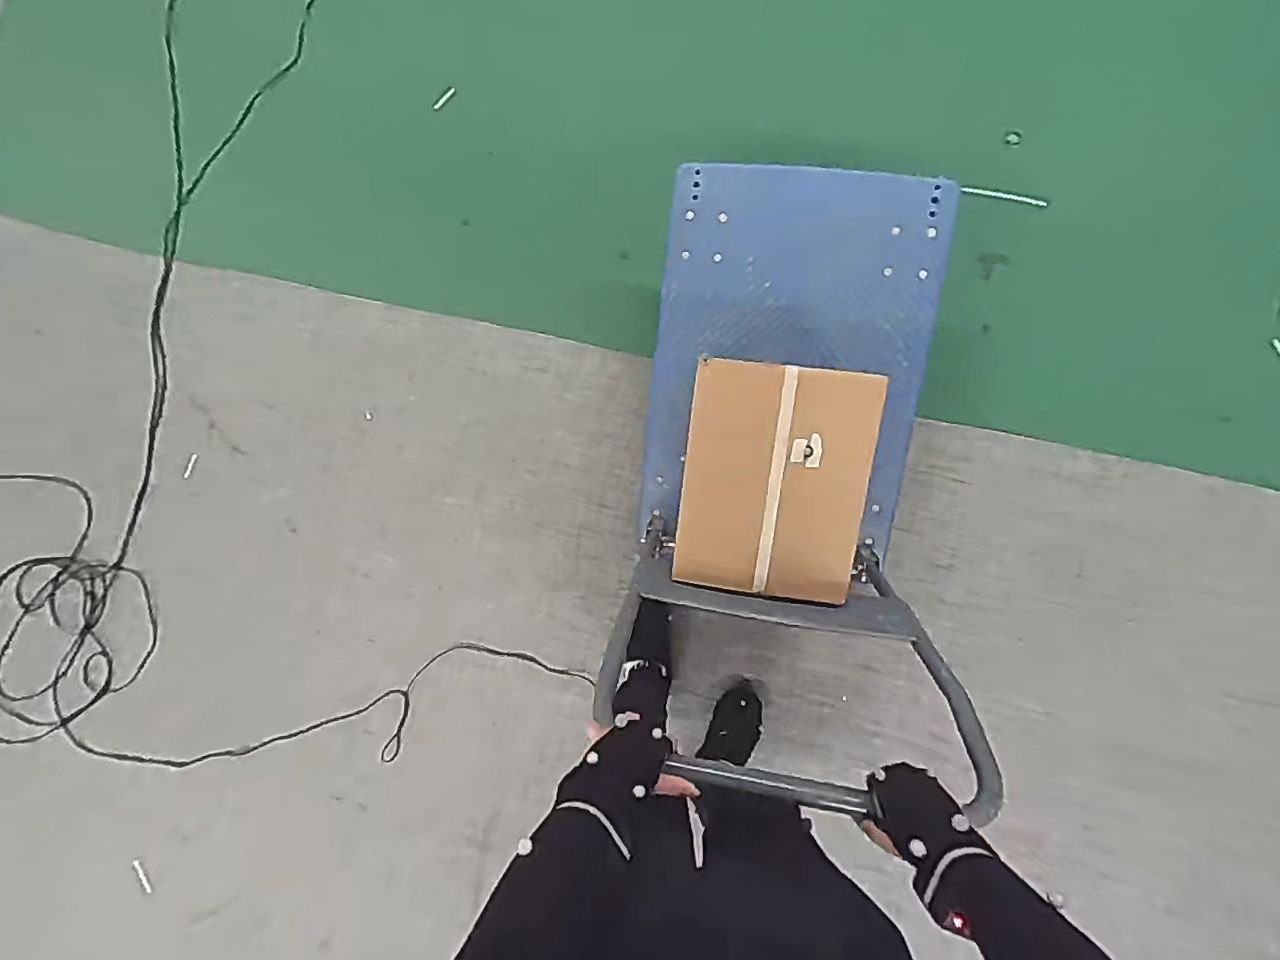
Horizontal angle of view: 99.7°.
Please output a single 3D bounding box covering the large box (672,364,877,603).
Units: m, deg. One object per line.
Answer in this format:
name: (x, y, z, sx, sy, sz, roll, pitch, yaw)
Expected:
large box: (0.249, -0.012, 1.094, 0.320, 0.320, 0.408, 7, 100, 6)
